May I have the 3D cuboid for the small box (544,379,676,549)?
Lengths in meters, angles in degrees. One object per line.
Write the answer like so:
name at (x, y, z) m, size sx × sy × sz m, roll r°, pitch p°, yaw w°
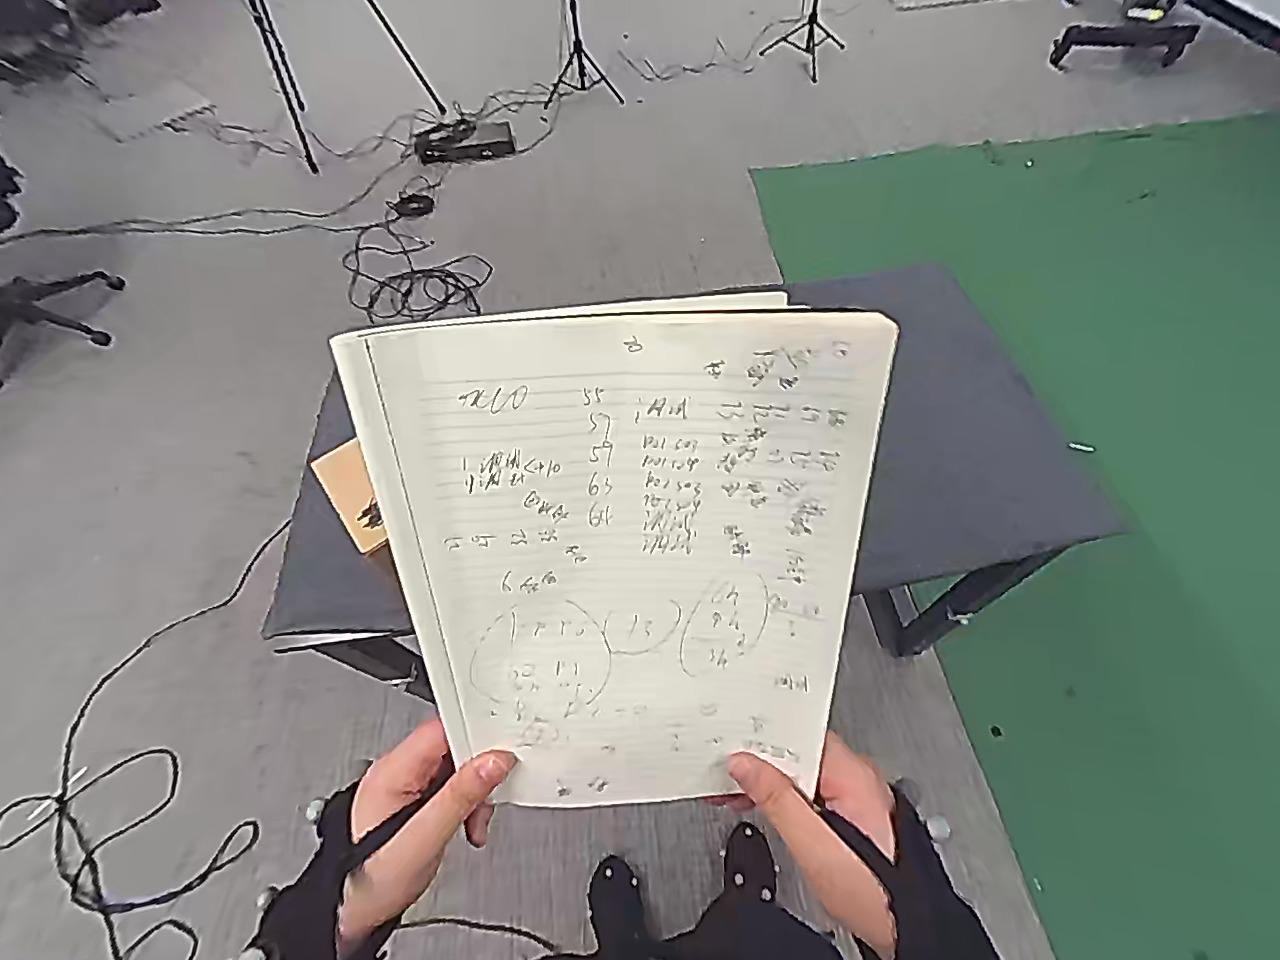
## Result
small box at (-0.037, -0.020, 0.779) m, size 0.168 × 0.176 × 0.179 m, roll -5°, pitch 57°, yaw 2°
